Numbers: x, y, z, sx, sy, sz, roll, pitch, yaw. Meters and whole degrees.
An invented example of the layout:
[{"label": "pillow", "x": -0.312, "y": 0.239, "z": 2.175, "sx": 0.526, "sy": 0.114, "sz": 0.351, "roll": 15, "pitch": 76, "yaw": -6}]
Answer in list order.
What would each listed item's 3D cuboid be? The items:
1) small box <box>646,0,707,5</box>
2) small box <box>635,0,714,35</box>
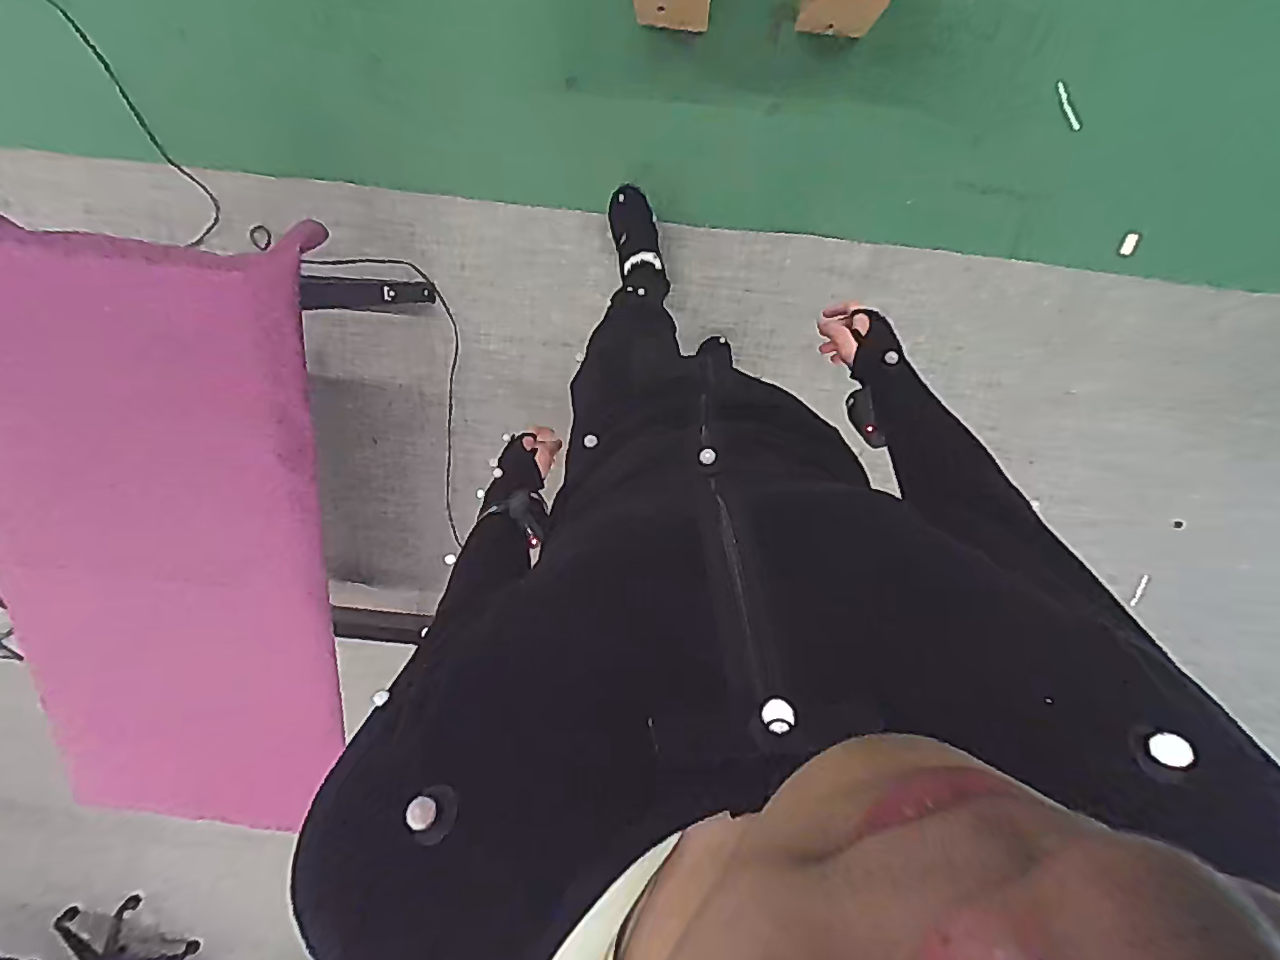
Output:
[{"label": "small box", "x": 0.064, "y": -1.058, "z": 1.029, "sx": 0.168, "sy": 0.176, "sz": 0.179, "roll": 6, "pitch": 110, "yaw": 3}, {"label": "small box", "x": 0.086, "y": -1.116, "z": 1.181, "sx": 0.168, "sy": 0.176, "sz": 0.179, "roll": 8, "pitch": 109, "yaw": 2}]
